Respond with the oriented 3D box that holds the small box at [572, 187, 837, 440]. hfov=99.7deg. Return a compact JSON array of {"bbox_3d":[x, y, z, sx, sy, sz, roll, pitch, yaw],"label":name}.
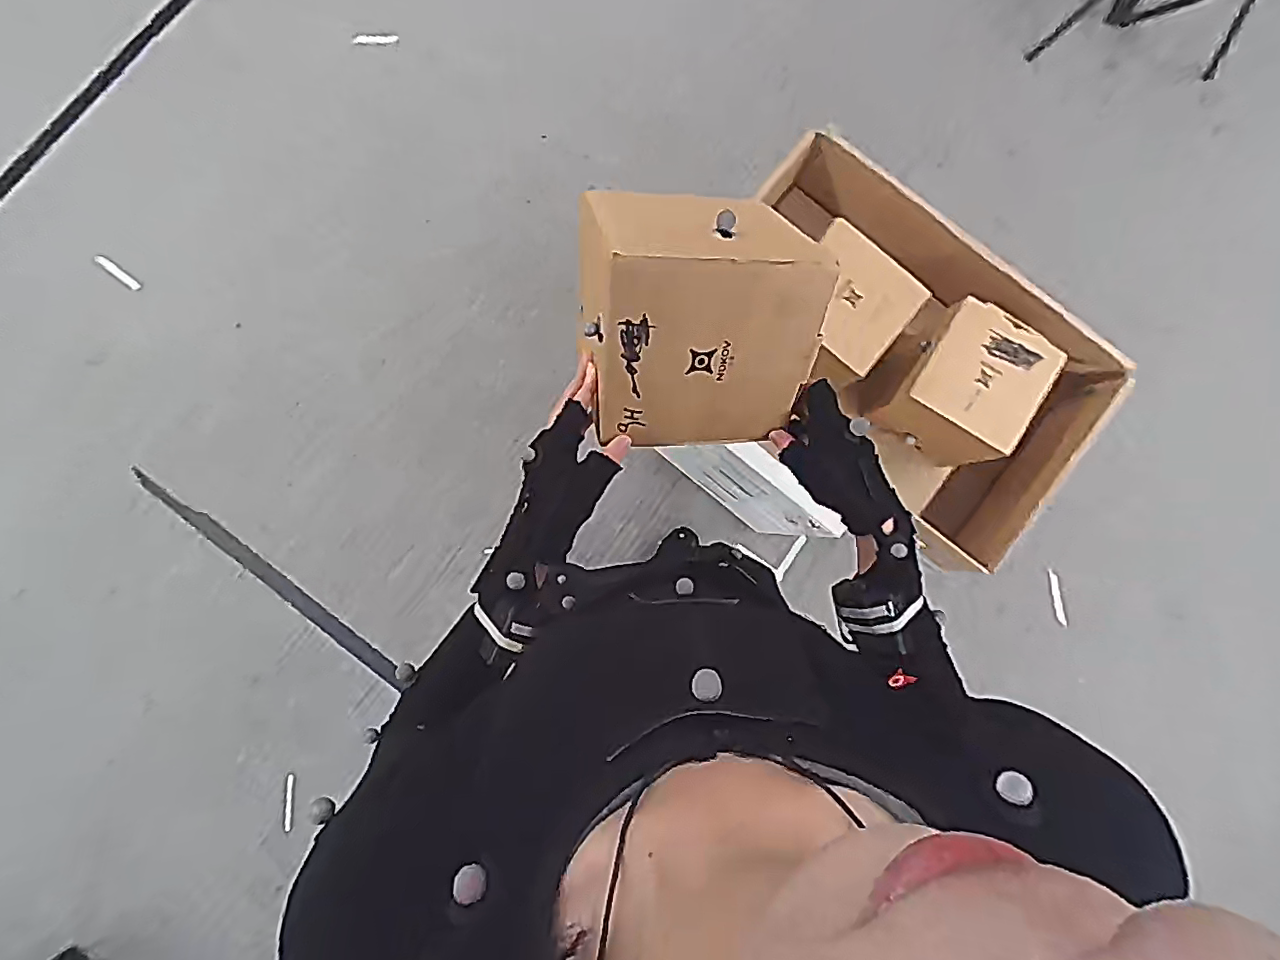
[{"bbox_3d":[0.038,-0.153,0.486,0.179,0.168,0.176,-4,40,-13],"label":"small box"}]
